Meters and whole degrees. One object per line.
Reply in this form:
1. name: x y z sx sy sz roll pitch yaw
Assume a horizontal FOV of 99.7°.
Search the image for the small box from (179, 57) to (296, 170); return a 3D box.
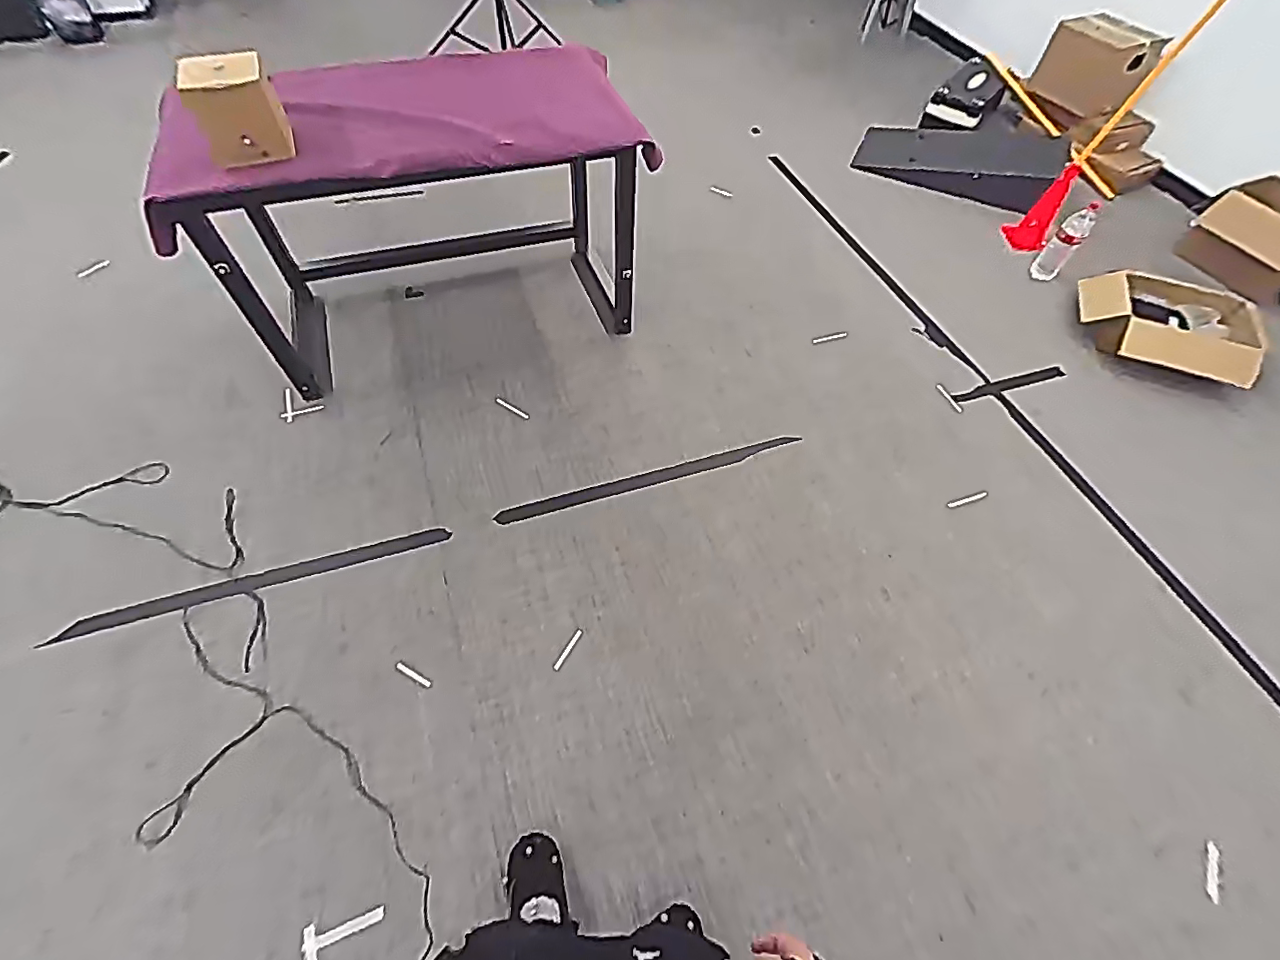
1. small box: -0.955 -0.876 1.295 0.168 0.176 0.179 -18 59 -14
